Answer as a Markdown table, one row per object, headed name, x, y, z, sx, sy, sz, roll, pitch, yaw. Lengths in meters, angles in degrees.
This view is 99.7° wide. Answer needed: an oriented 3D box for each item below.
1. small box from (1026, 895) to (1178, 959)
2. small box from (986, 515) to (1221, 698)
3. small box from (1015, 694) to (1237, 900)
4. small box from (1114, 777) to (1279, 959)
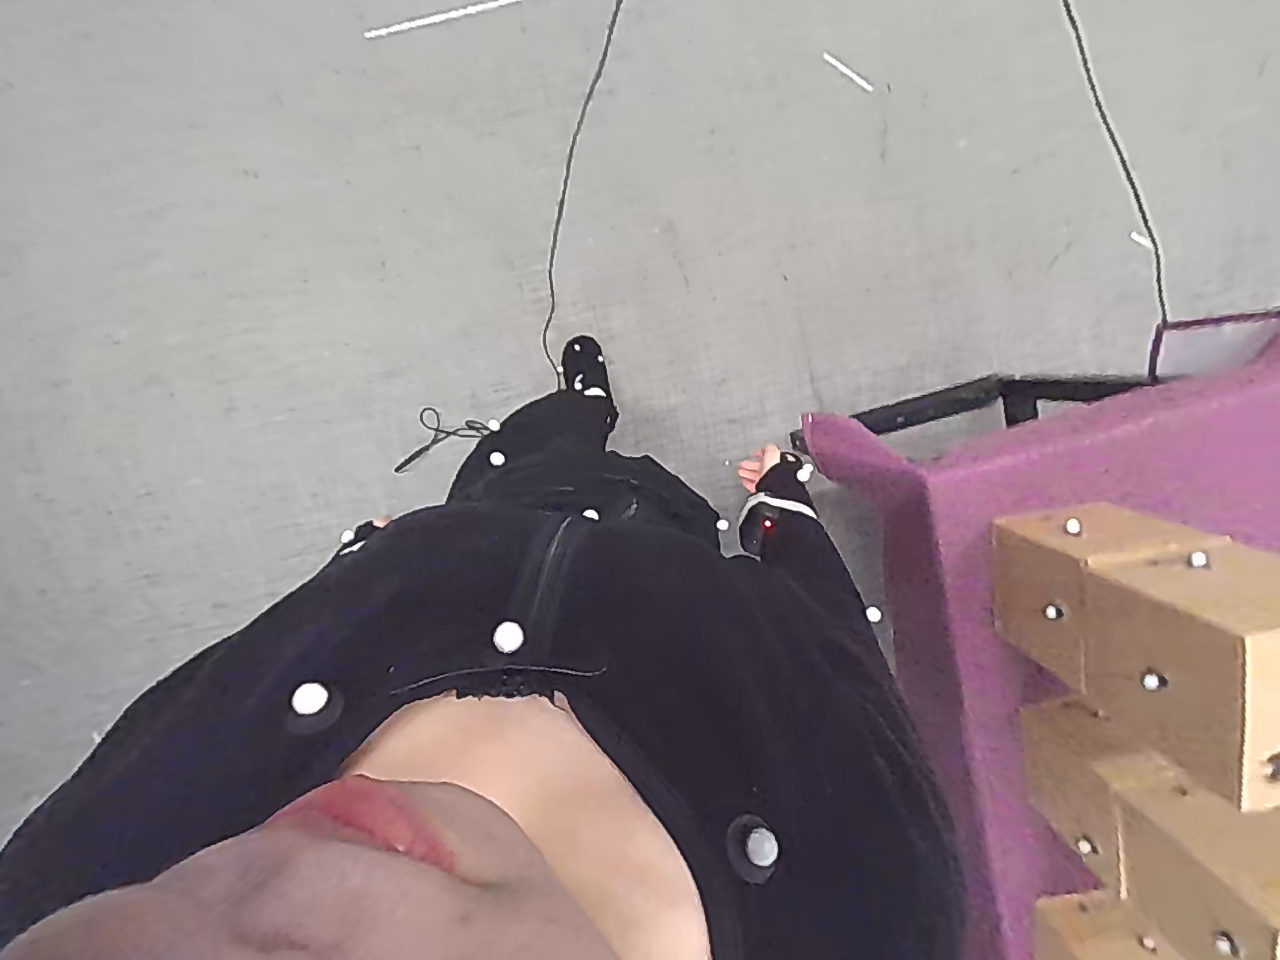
| name | x | y | z | sx | sy | sz | roll | pitch | yaw |
| --- | --- | --- | --- | --- | --- | --- | --- | --- | --- |
| small box | 0.735 | 0.785 | 0.836 | 0.168 | 0.176 | 0.179 | -8 | 102 | 0 |
| small box | 0.584 | 0.150 | 0.705 | 0.168 | 0.176 | 0.179 | -8 | 102 | 1 |
| small box | 0.667 | 0.433 | 0.763 | 0.168 | 0.176 | 0.179 | -12 | 102 | 0 |
| small box | 0.678 | 0.464 | 0.601 | 0.168 | 0.176 | 0.179 | -15 | 102 | 2 |
